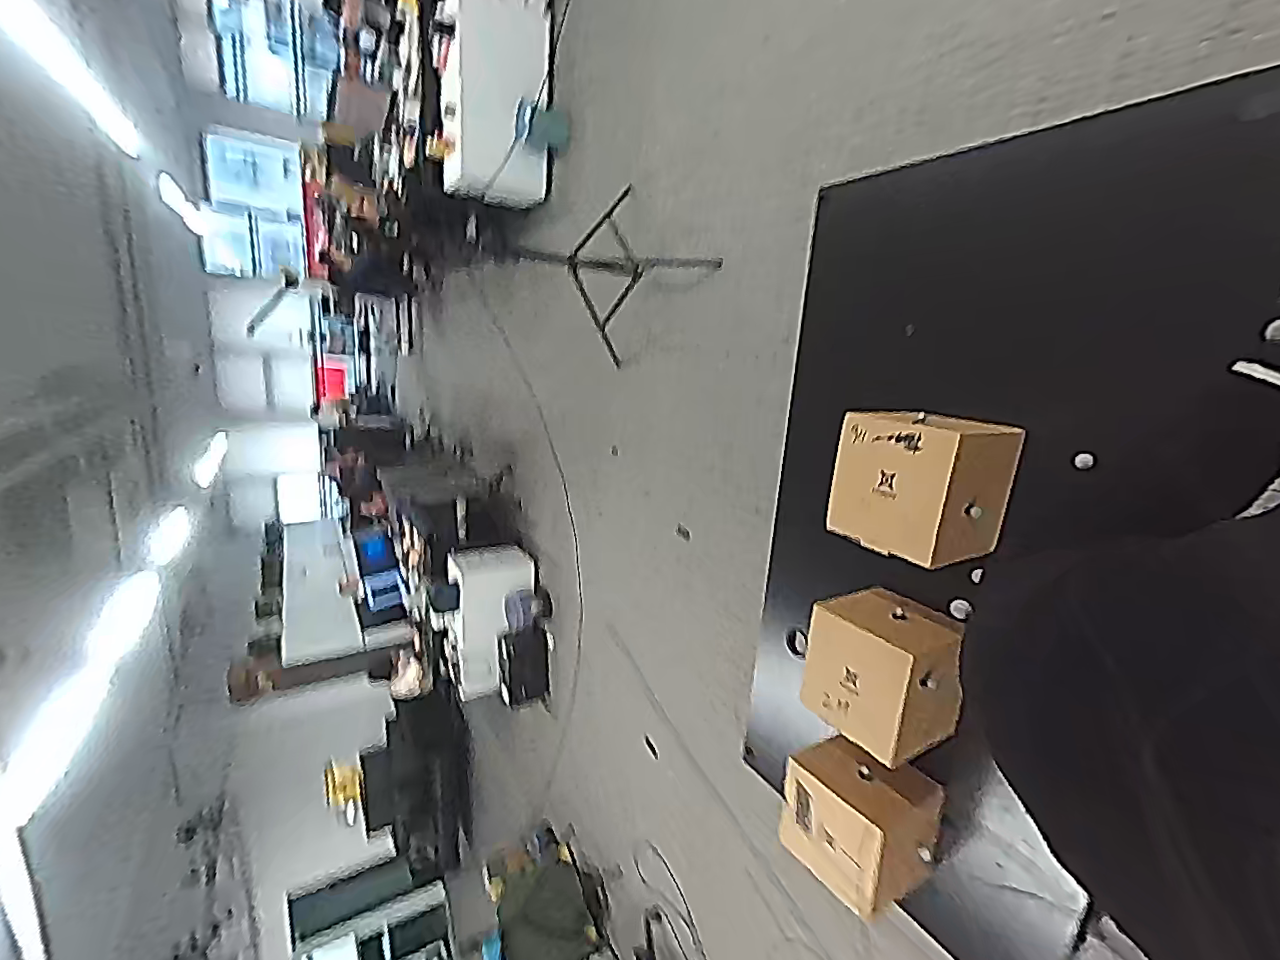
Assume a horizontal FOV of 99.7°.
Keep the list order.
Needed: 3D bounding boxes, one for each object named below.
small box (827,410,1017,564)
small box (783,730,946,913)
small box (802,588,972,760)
[{"bbox_3d":[0.399,-0.001,0.772,0.168,0.176,0.179,25,116,54],"label":"small box"},{"bbox_3d":[0.366,0.543,0.896,0.179,0.176,0.168,19,110,55],"label":"small box"},{"bbox_3d":[0.381,0.283,0.837,0.168,0.176,0.179,22,112,56],"label":"small box"}]
